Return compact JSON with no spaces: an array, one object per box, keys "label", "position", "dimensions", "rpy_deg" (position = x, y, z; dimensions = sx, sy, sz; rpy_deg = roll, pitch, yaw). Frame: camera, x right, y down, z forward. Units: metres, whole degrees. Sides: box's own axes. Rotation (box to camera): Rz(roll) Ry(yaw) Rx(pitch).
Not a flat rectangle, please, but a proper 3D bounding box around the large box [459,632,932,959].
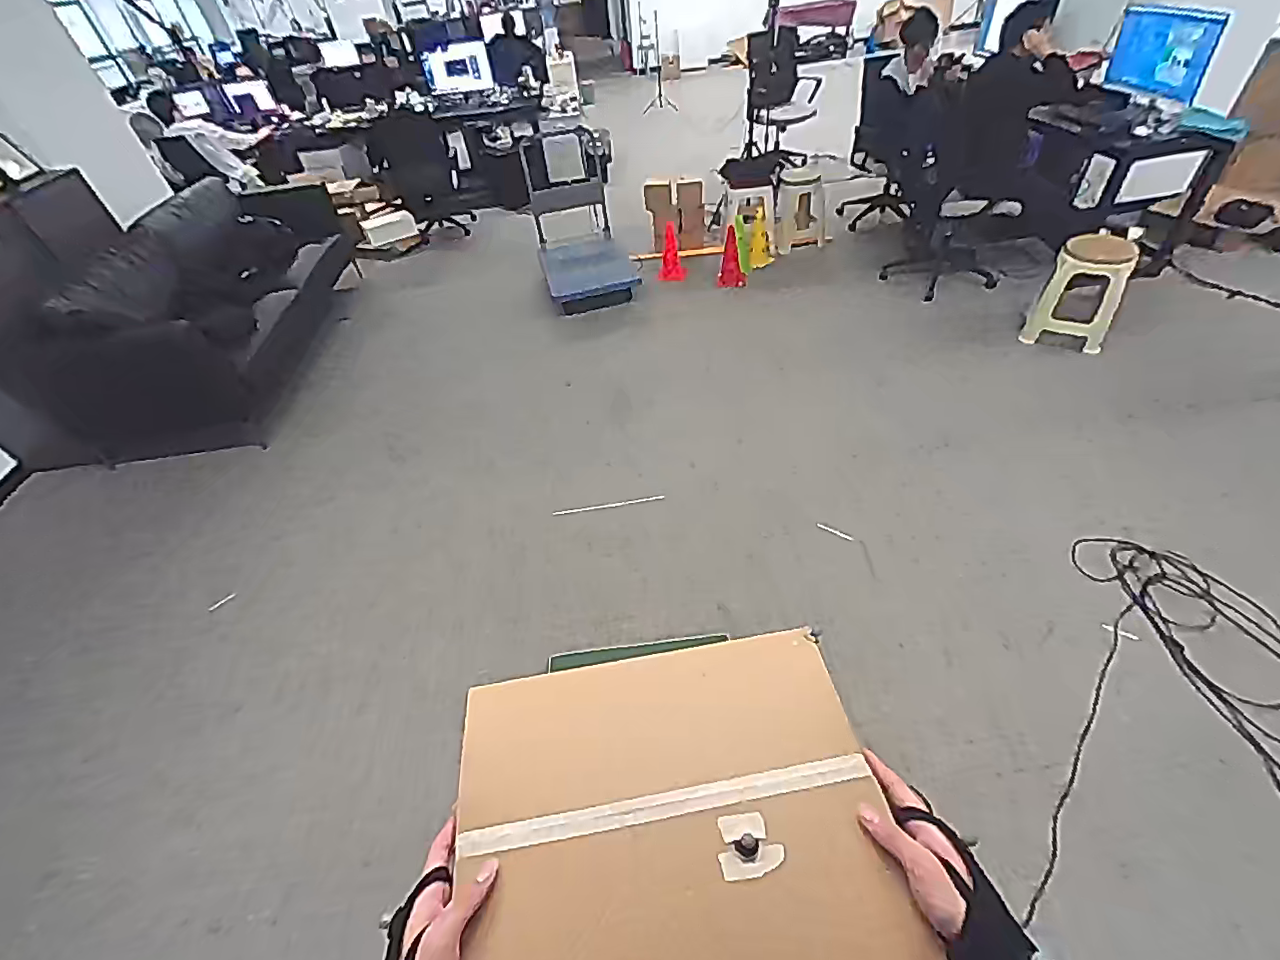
[{"label":"large box","position":[0.035,0.428,0.639],"dimensions":[0.408,0.320,0.320],"rpy_deg":[-9,45,-3]}]
